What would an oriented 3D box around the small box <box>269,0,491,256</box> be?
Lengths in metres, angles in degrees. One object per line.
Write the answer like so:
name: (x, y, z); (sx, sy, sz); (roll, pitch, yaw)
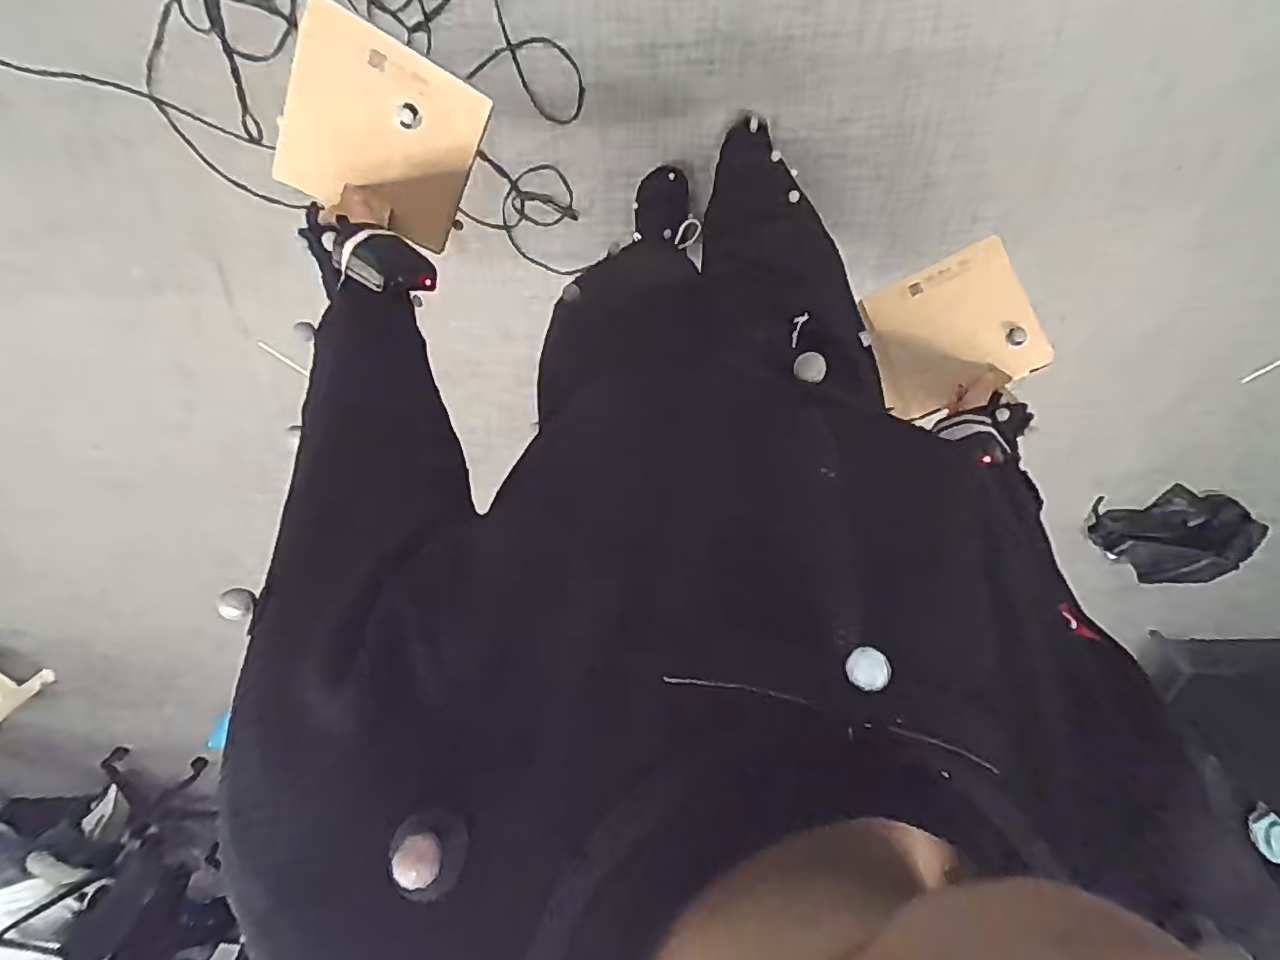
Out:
small box: (-0.275, -0.385, 0.591); (0.168, 0.179, 0.176); (17, 120, -31)
